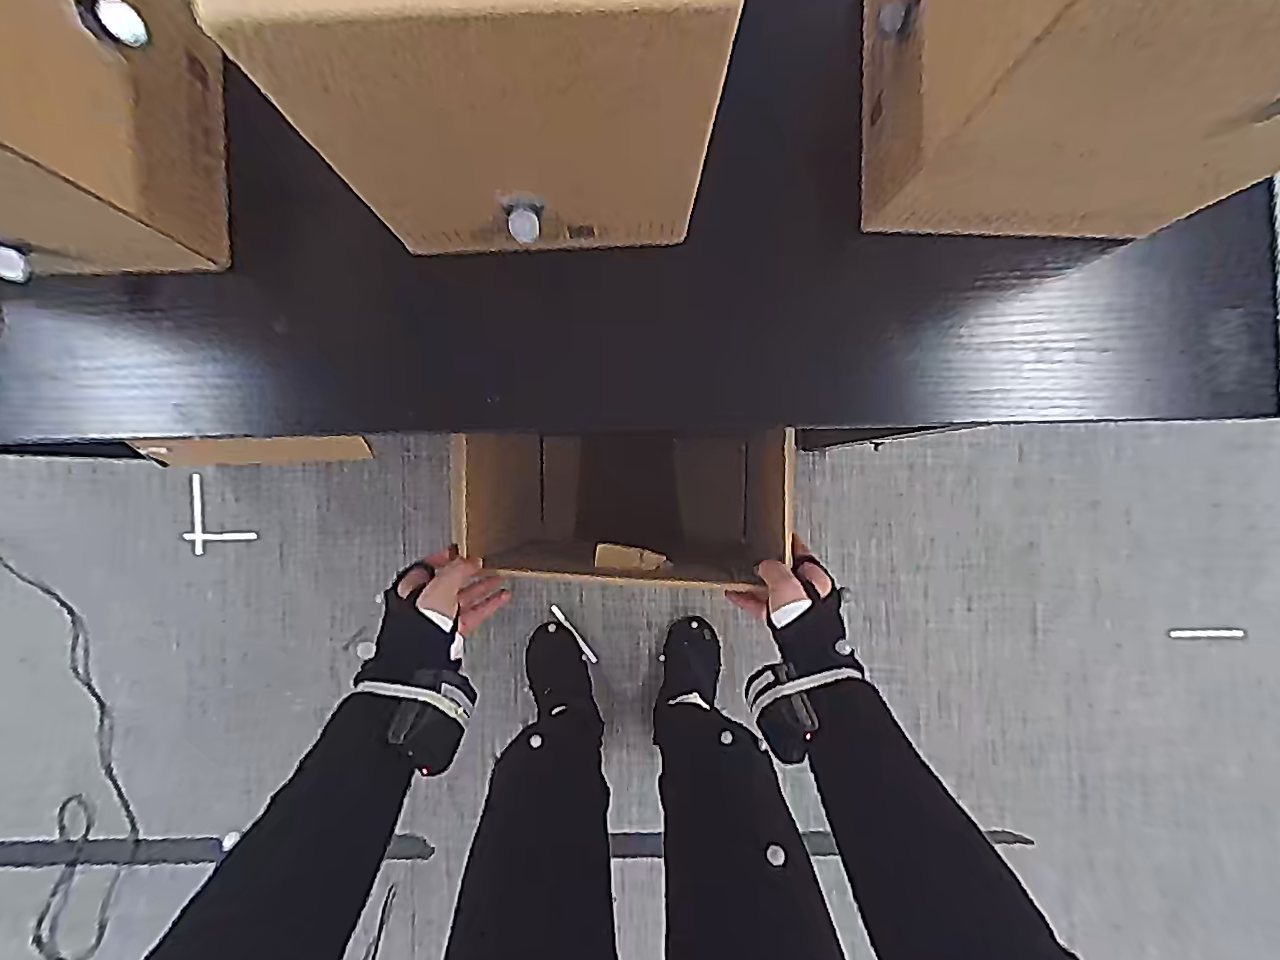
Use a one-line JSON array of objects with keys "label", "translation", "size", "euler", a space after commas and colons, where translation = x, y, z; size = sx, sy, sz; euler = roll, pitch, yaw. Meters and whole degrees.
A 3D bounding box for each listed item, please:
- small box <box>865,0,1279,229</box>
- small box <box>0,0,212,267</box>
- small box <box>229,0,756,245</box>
[{"label": "small box", "translation": [0.227, -0.234, 0.246], "size": [0.179, 0.176, 0.168], "euler": [1, 89, -2]}, {"label": "small box", "translation": [-0.323, -0.204, 0.230], "size": [0.179, 0.176, 0.168], "euler": [-3, 90, -3]}, {"label": "small box", "translation": [-0.052, -0.227, 0.238], "size": [0.168, 0.176, 0.179], "euler": [-3, 90, -2]}]
